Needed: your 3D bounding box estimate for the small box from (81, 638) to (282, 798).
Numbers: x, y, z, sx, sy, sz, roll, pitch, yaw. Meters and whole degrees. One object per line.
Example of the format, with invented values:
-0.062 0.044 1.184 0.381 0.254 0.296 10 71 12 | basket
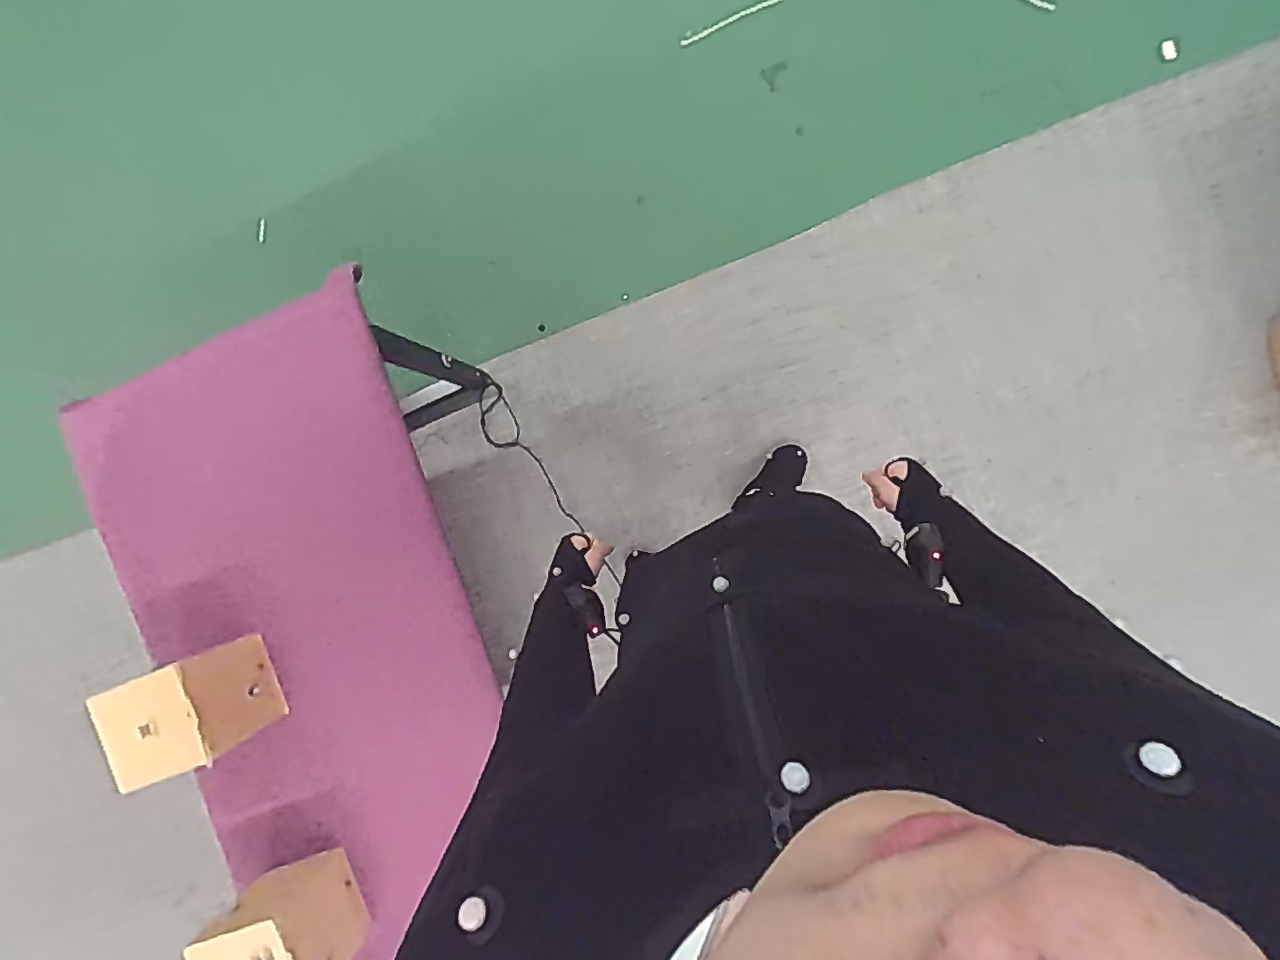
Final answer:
-0.767 0.394 0.922 0.179 0.176 0.168 -22 89 5 | small box
